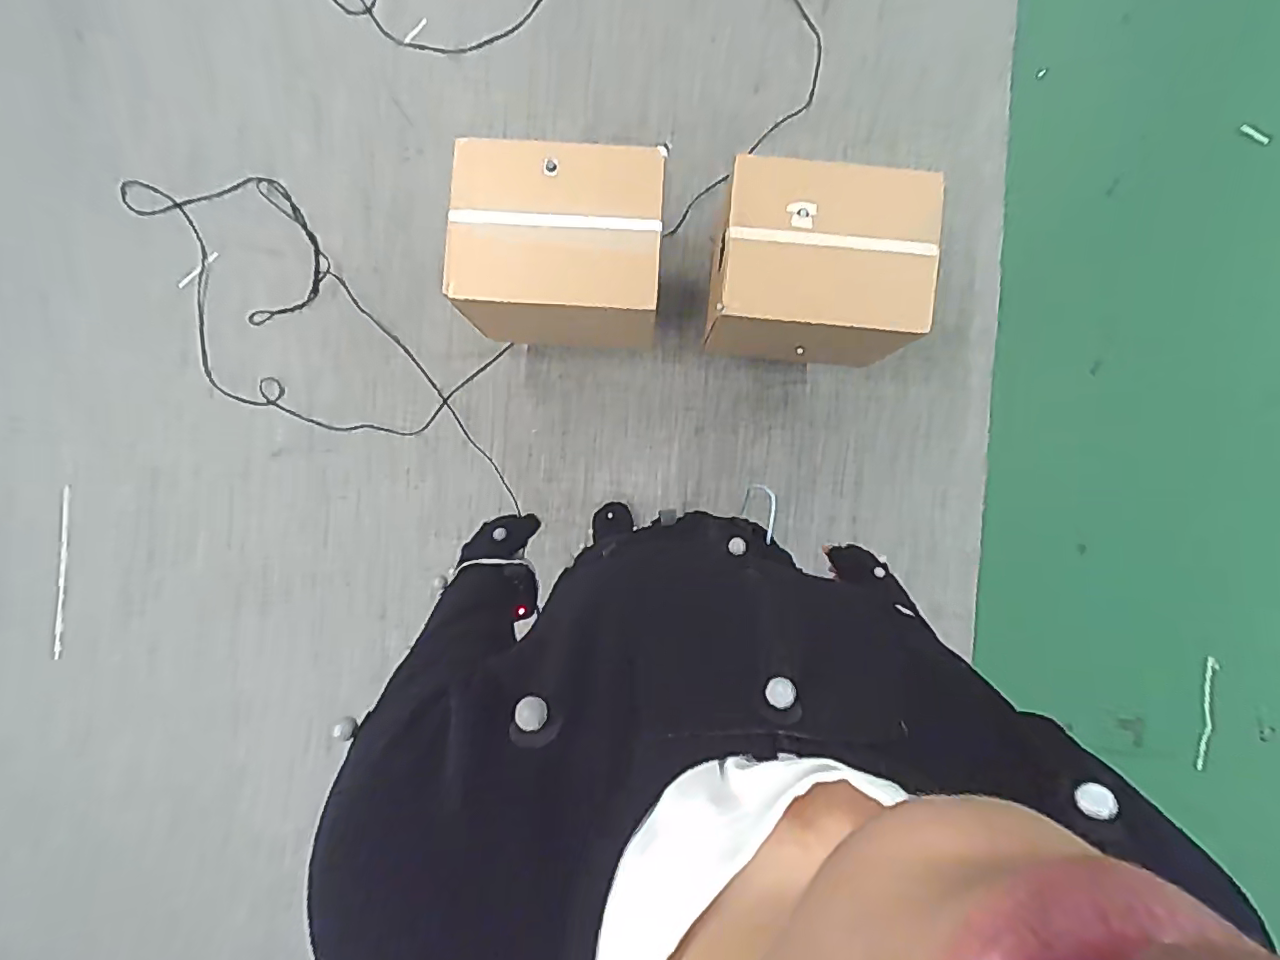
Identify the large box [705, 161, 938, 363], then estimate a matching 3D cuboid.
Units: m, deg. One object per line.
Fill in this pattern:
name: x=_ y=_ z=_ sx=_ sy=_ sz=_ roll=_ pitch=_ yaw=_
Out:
large box: x=0.371 y=-0.453 z=1.195 sx=0.408 sy=0.320 sz=0.320 roll=6 pitch=89 yaw=1
